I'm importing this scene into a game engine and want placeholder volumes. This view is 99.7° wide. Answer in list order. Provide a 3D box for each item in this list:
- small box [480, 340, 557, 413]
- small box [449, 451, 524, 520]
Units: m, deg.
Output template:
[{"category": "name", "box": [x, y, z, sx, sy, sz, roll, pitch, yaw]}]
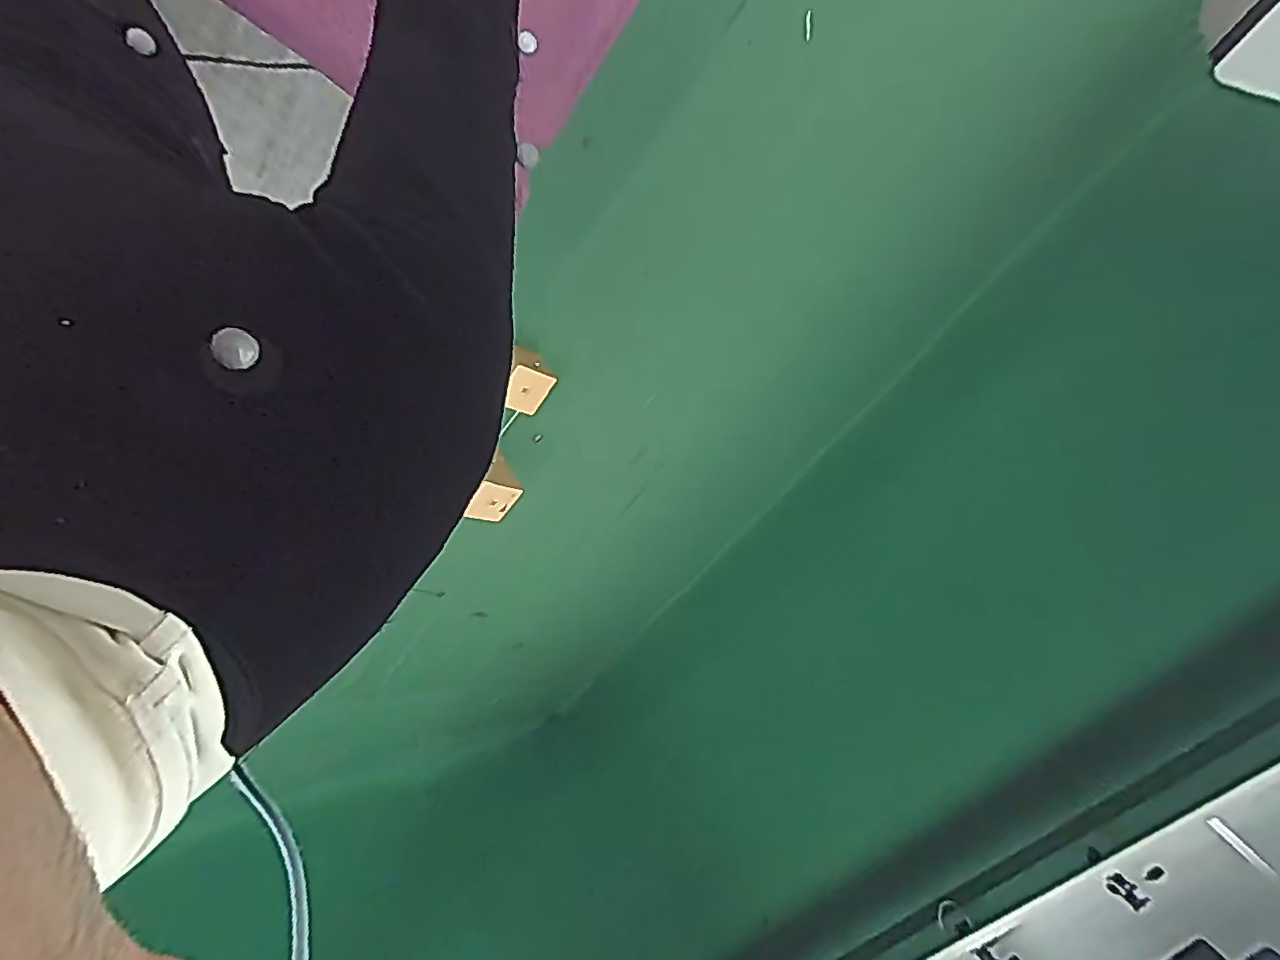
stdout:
[{"category": "small box", "box": [-0.432, -0.365, 1.897, 0.179, 0.176, 0.168, 12, 123, -51]}, {"category": "small box", "box": [-0.557, 0.018, 1.947, 0.168, 0.176, 0.179, -48, 145, 17]}]
